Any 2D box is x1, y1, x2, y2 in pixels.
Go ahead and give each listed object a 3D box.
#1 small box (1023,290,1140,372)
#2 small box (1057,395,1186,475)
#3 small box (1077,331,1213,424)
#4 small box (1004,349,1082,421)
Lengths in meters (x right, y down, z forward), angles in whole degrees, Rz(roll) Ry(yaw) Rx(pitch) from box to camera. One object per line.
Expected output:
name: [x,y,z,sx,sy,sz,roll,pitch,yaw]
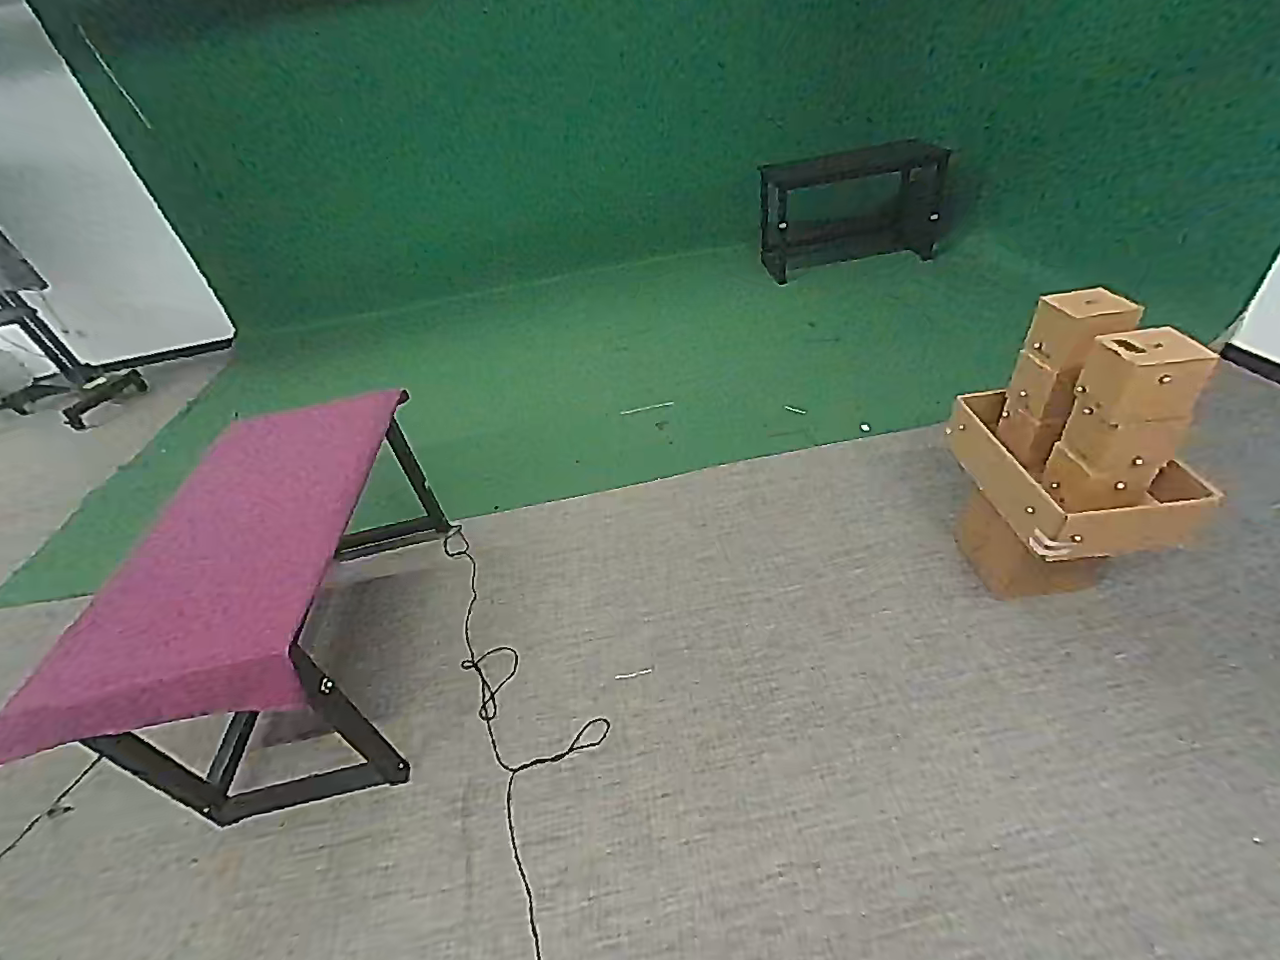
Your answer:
small box: [1.263,-0.429,1.564,0.179,0.176,0.168,-7,39,2]
small box: [1.291,-0.131,1.466,0.179,0.176,0.168,-6,39,5]
small box: [1.250,-0.254,1.362,0.179,0.176,0.168,-5,40,7]
small box: [1.274,-0.301,1.665,0.179,0.176,0.168,-9,40,1]
